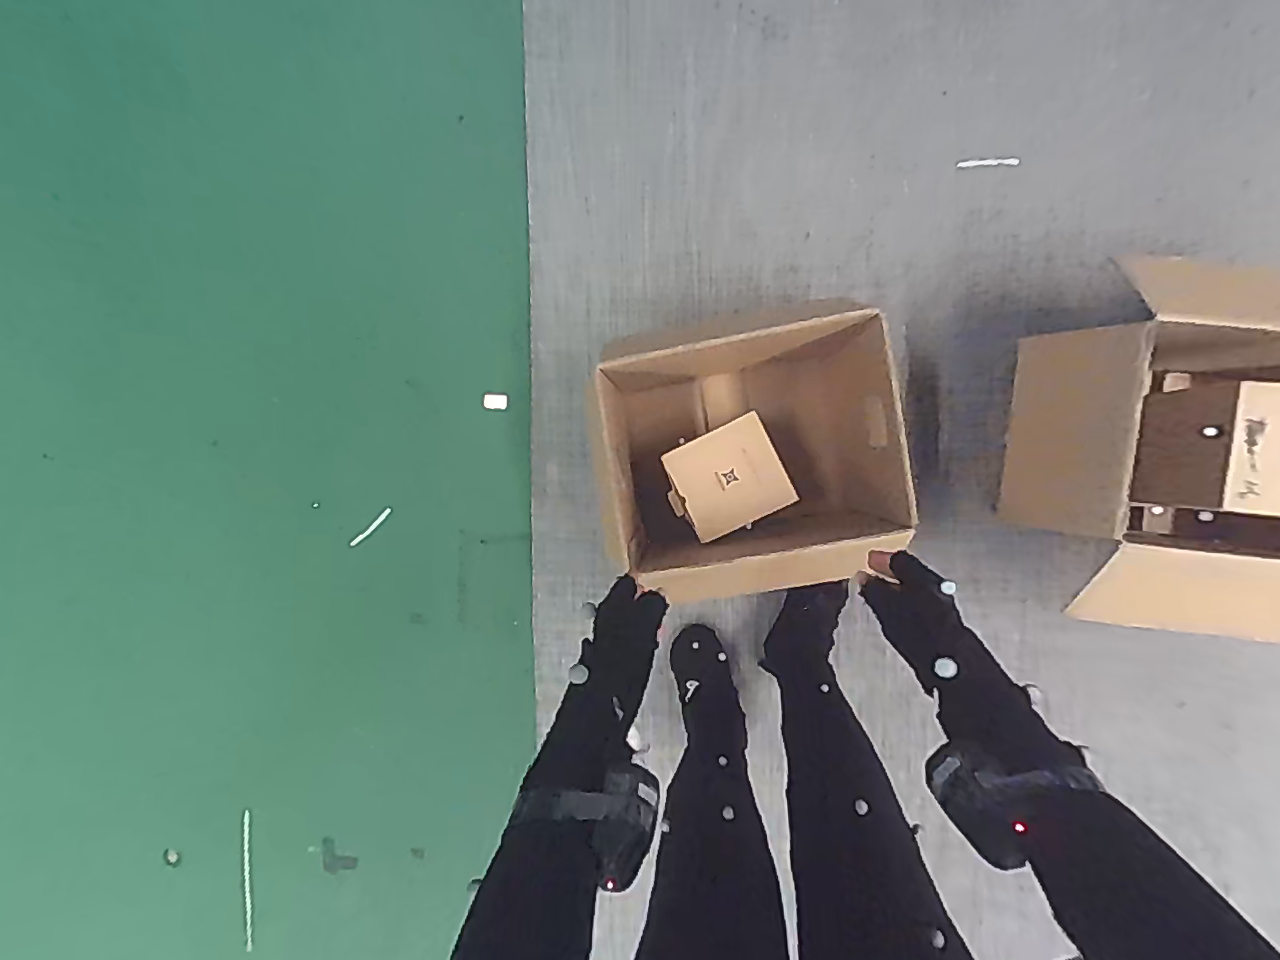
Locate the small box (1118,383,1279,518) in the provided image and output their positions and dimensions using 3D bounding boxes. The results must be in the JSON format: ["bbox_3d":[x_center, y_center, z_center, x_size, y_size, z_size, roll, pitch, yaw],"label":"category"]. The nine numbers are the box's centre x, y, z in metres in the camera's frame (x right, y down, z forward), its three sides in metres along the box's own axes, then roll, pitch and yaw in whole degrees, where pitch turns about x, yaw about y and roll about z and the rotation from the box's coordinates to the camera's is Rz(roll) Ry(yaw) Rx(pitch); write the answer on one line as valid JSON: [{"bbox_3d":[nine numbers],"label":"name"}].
[{"bbox_3d":[0.834,-0.035,0.756,0.179,0.176,0.168,5,91,5],"label":"small box"}]
